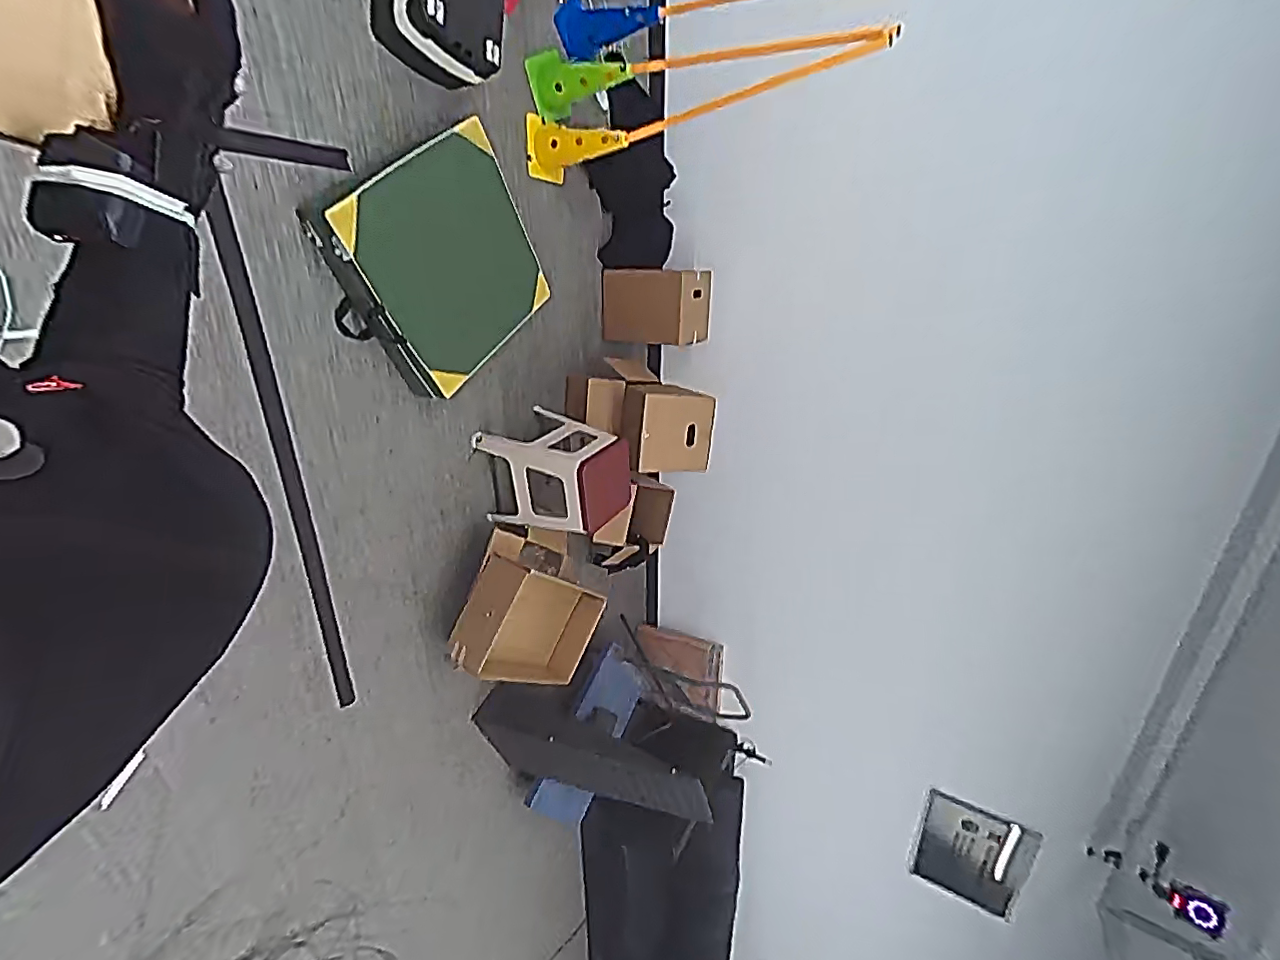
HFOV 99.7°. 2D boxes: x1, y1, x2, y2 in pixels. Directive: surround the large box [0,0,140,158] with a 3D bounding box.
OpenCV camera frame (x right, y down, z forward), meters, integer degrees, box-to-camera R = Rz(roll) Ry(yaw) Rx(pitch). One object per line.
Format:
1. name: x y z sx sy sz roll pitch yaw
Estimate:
1. large box: -0.562 -0.428 0.264 0.408 0.320 0.320 -4 116 -64
